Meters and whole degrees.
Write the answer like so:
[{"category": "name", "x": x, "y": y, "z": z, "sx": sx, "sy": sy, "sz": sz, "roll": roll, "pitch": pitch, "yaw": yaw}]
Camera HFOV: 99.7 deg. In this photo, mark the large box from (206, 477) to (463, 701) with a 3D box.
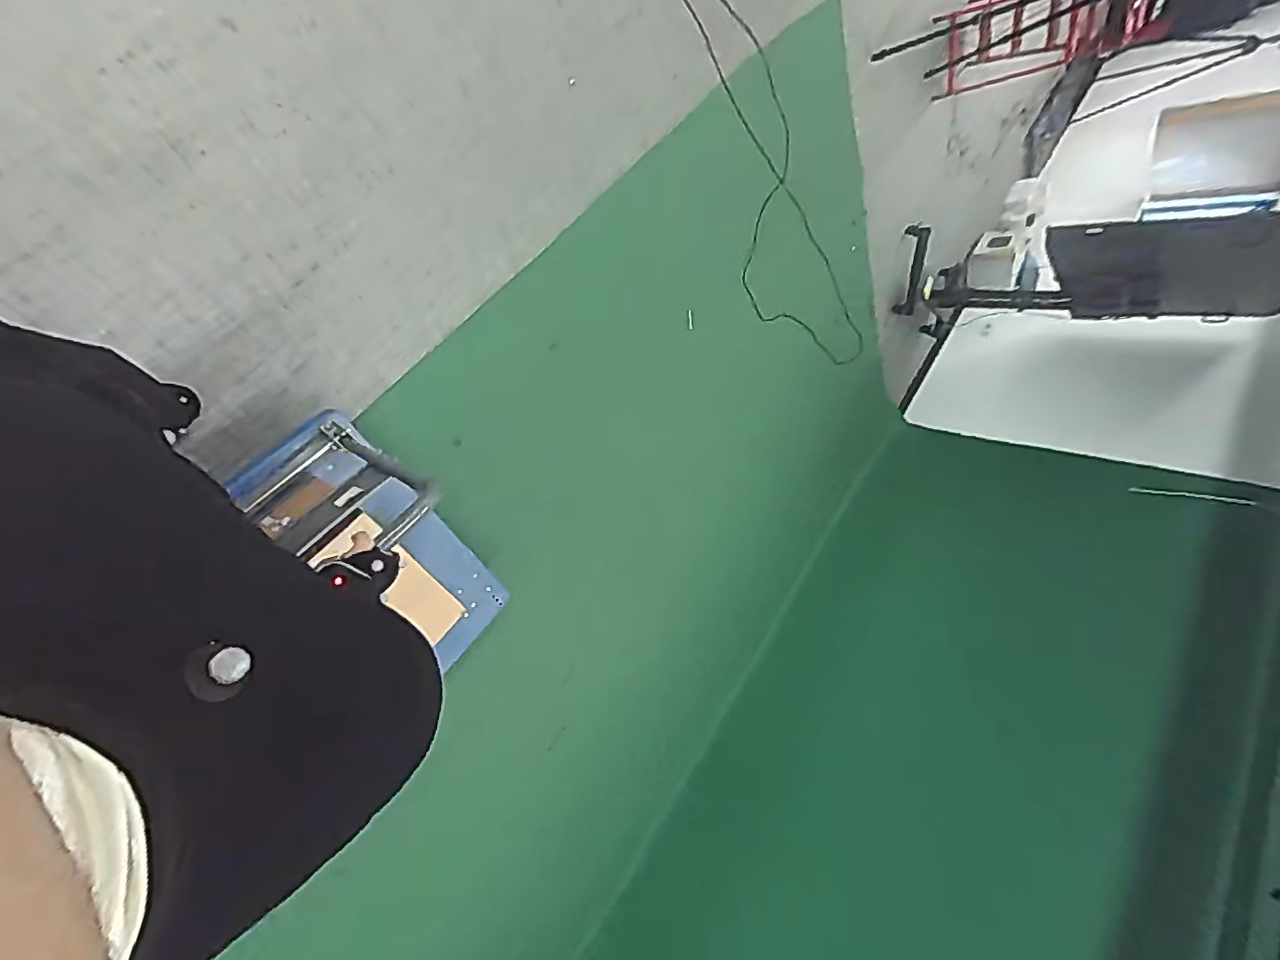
[{"category": "large box", "x": -0.732, "y": 0.259, "z": 1.327, "sx": 0.320, "sy": 0.320, "sz": 0.408, "roll": -48, "pitch": 135, "yaw": -23}]
